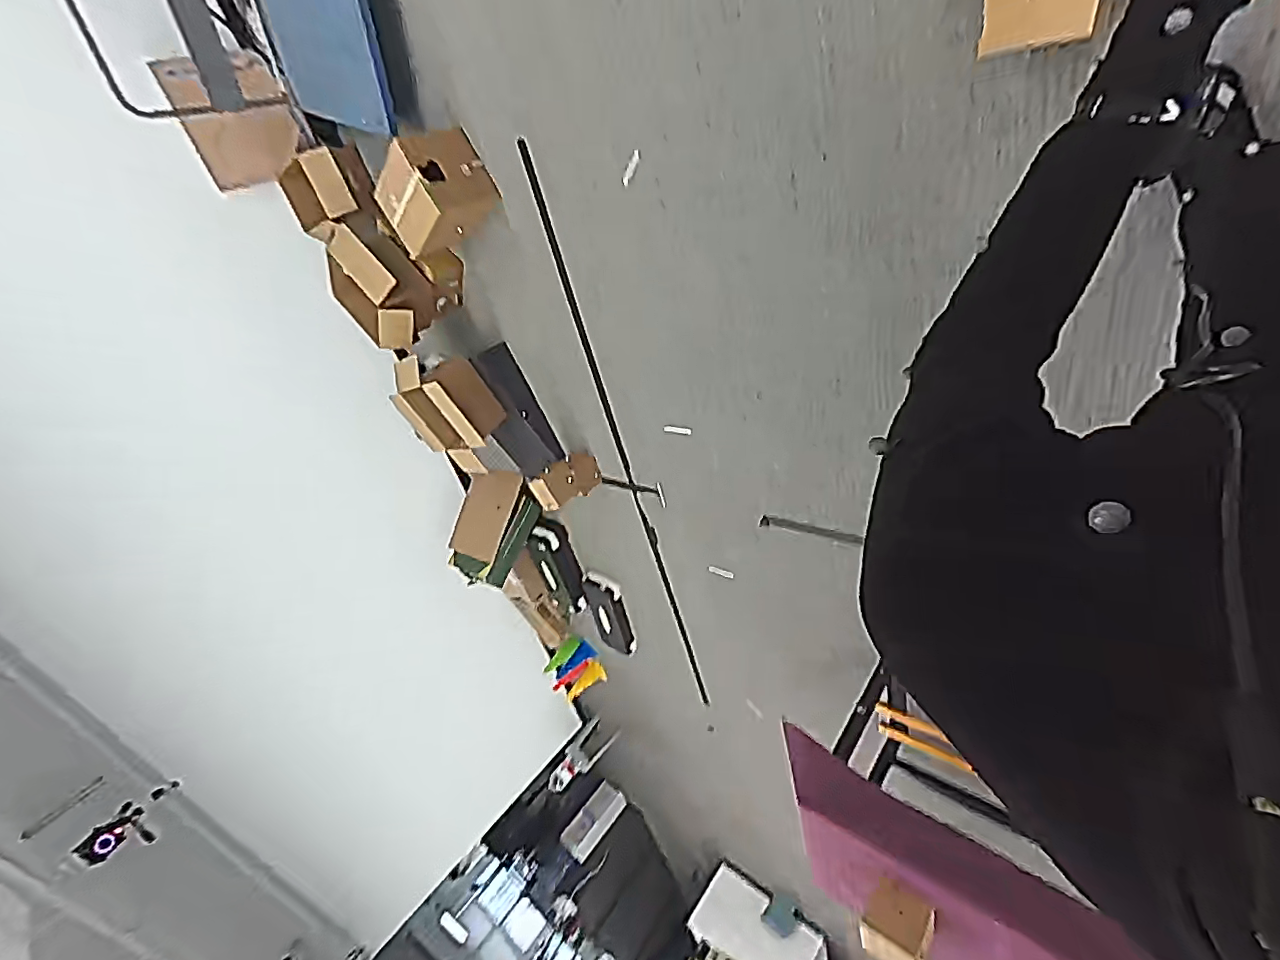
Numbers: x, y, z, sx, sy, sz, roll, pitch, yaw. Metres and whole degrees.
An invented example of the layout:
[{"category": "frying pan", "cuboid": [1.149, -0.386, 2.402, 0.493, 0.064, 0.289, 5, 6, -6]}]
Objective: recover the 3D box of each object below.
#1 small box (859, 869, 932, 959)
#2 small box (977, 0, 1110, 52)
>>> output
[{"category": "small box", "cuboid": [0.806, 1.384, 1.702, 0.168, 0.176, 0.179, 13, 131, 42]}, {"category": "small box", "cuboid": [0.742, -0.896, 0.972, 0.179, 0.176, 0.168, 20, 136, 38]}]
